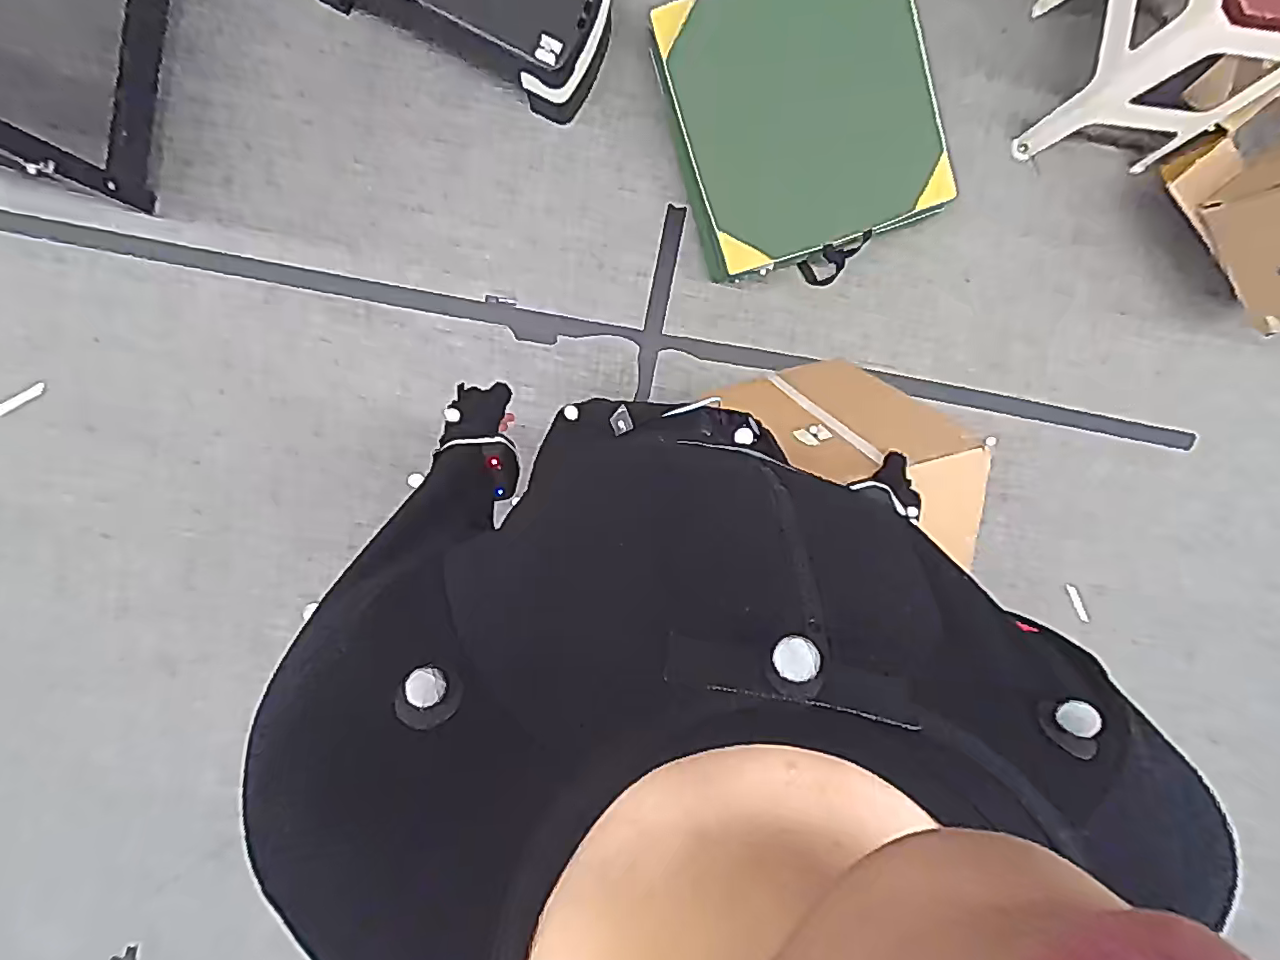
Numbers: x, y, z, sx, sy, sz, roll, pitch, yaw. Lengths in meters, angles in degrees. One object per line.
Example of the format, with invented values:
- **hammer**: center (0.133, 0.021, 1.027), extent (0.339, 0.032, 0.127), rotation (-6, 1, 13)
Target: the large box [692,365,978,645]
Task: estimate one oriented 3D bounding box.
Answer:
- **large box**: center (0.313, 0.021, 0.997), extent (0.320, 0.408, 0.320), rotation (-14, 122, -6)
